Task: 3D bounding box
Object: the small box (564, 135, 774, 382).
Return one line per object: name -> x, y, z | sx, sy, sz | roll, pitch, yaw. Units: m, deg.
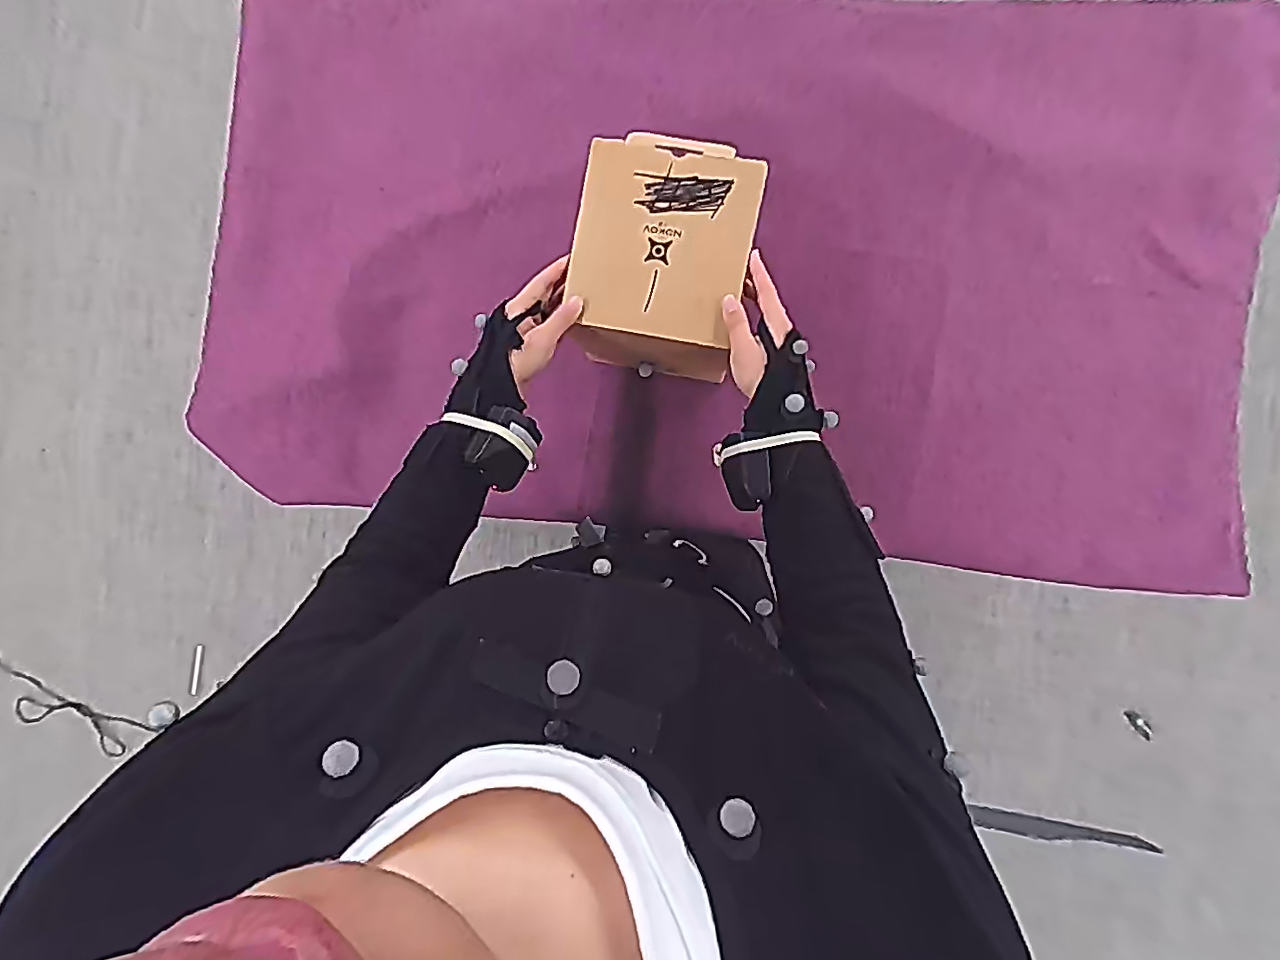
small box -> 0.032, -0.216, 0.571 | 0.168, 0.176, 0.179 | 11, 91, 5
